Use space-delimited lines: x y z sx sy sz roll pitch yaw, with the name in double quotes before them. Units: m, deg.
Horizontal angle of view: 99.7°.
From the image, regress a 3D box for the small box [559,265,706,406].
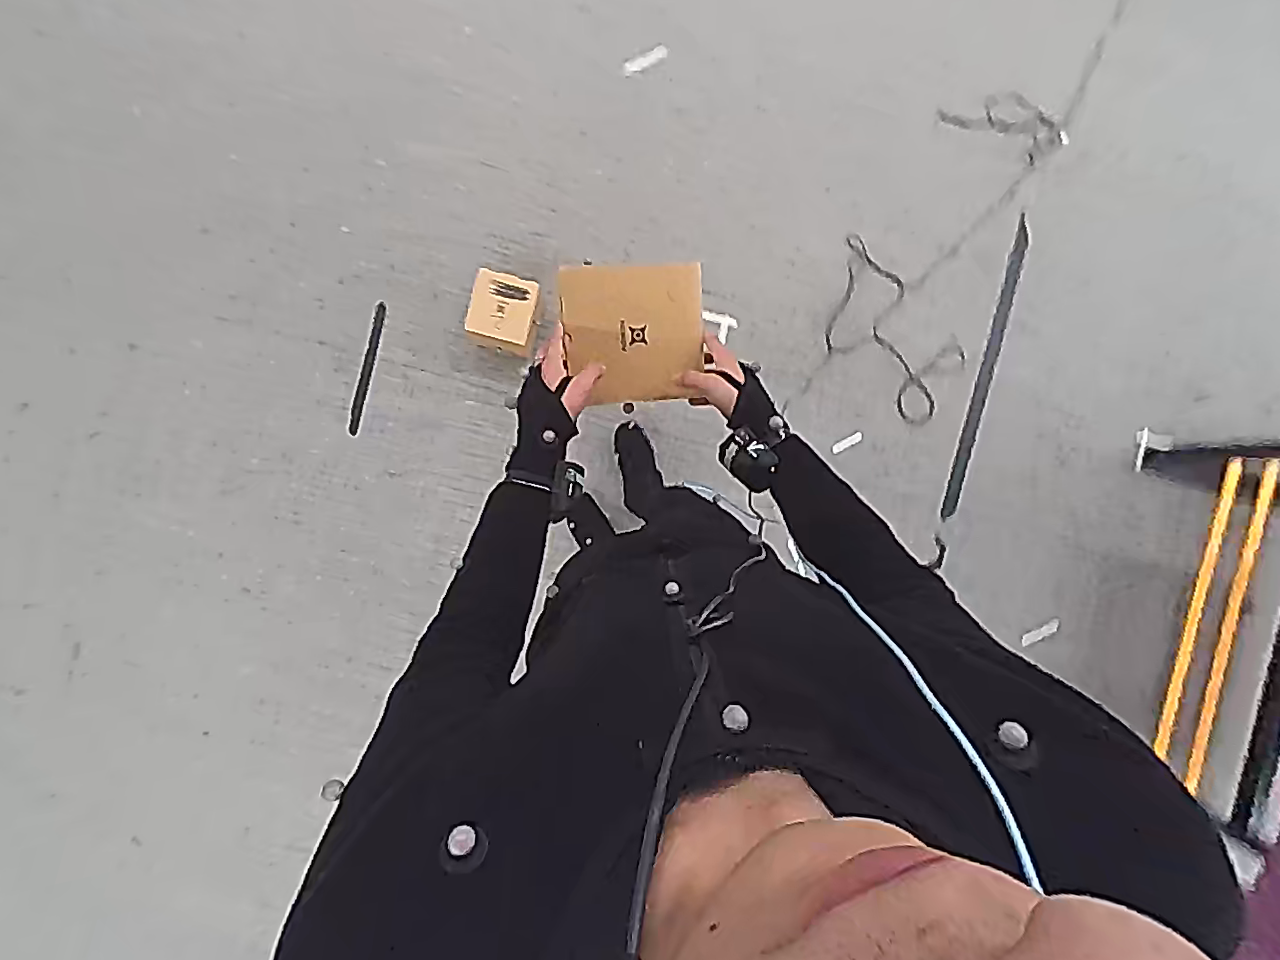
"small box" -0.016 -0.196 0.737 0.179 0.176 0.168 -5 104 -7
